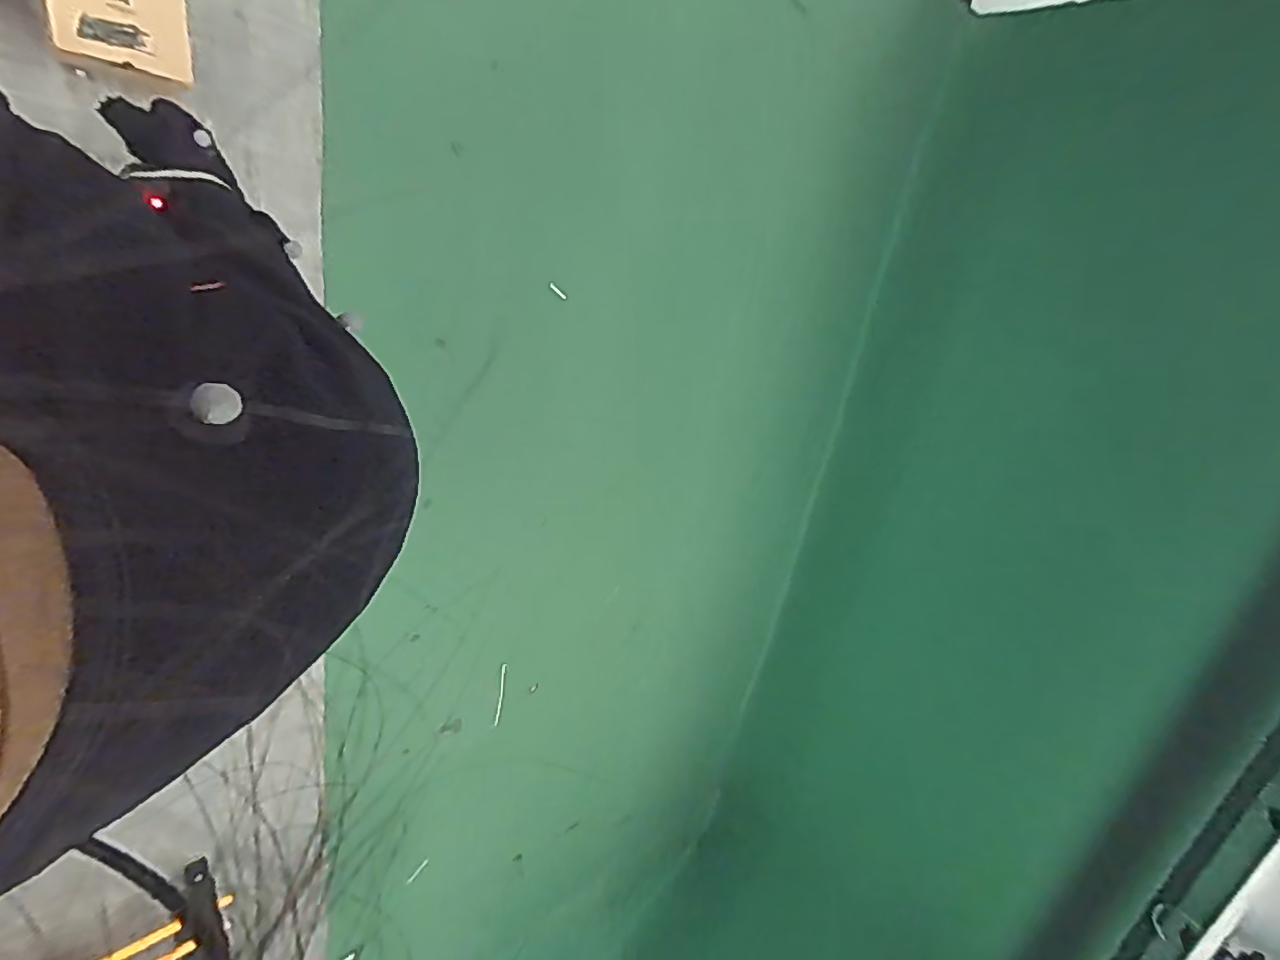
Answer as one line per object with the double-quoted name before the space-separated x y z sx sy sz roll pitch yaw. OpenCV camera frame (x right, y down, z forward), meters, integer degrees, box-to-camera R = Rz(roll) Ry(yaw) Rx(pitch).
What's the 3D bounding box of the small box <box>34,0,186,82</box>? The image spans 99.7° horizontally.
"small box" -0.855 -0.772 0.869 0.168 0.176 0.179 -11 119 -45
